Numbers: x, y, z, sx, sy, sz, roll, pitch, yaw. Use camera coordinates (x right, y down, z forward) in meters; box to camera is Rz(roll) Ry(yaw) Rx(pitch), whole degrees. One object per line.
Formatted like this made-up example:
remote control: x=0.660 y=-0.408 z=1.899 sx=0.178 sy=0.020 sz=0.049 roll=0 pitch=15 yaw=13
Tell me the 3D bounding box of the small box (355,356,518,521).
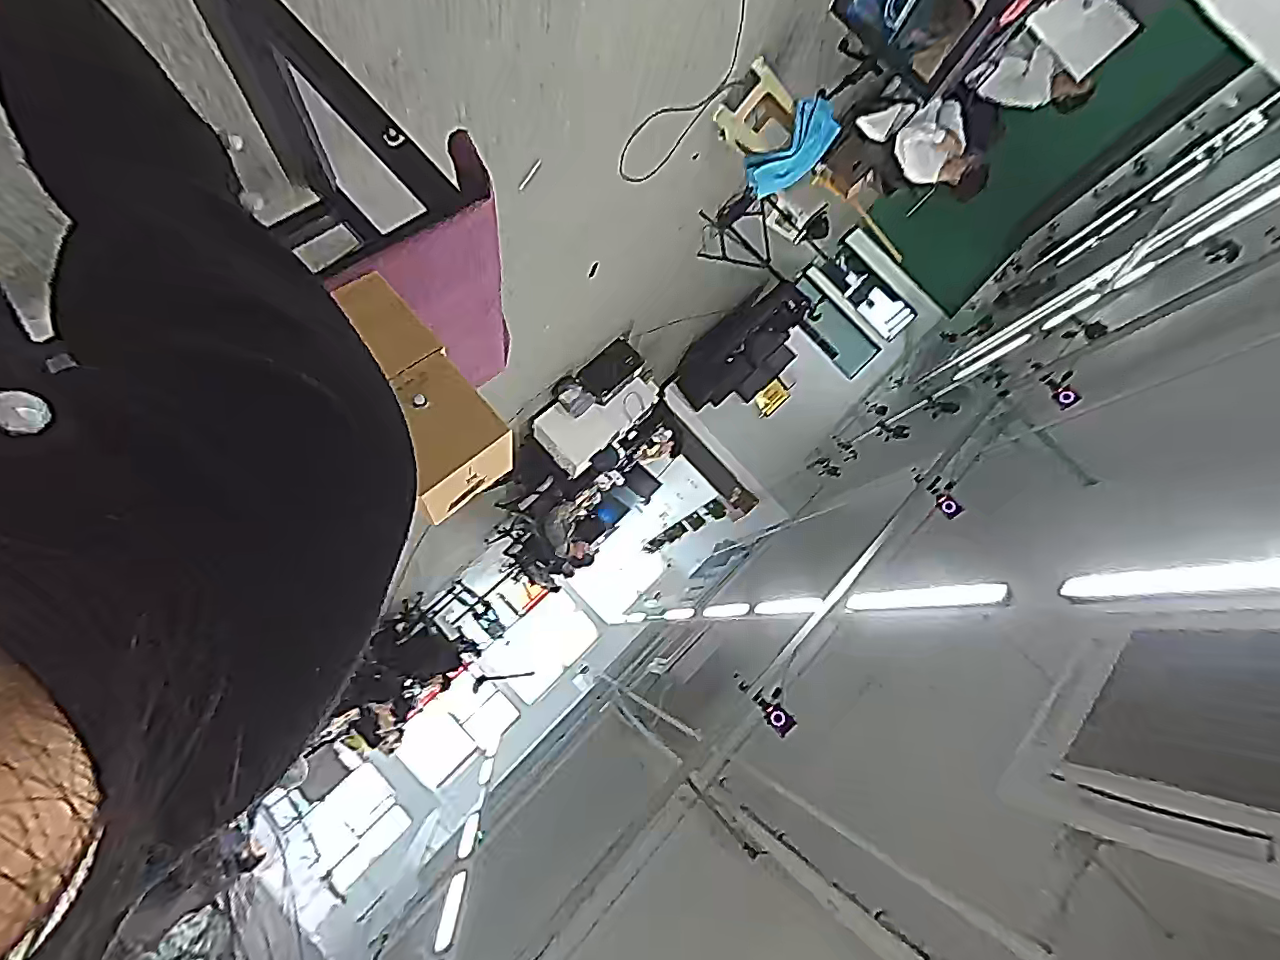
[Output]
small box: x=-0.315 y=-0.064 z=0.861 sx=0.168 sy=0.176 sz=0.179 roll=-42 pitch=176 yaw=-22
